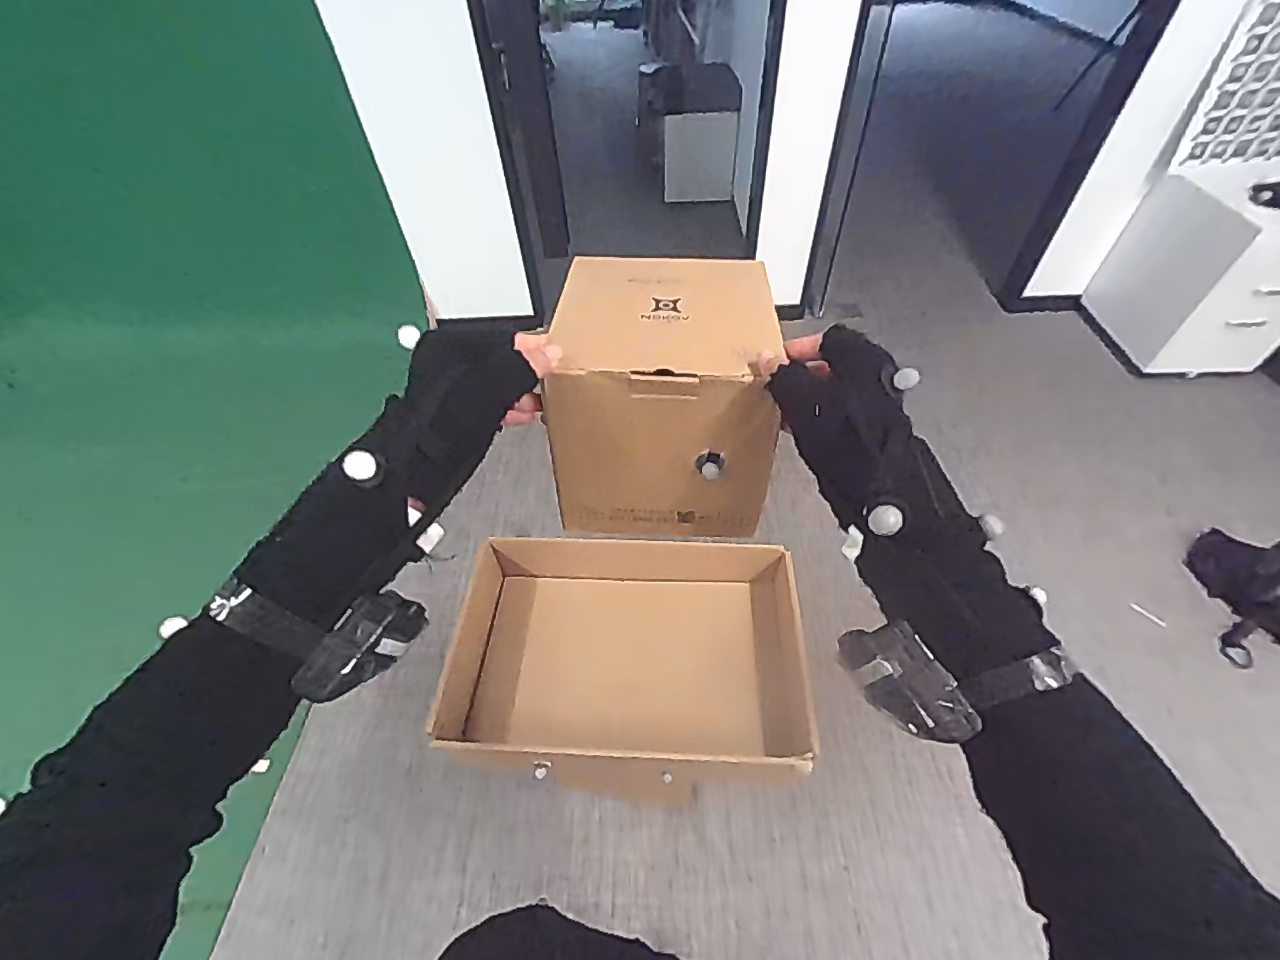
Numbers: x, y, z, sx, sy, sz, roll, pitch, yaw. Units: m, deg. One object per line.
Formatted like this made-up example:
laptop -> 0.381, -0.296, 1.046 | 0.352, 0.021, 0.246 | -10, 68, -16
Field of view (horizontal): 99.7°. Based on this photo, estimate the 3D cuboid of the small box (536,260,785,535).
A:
small box -> 0.017, -0.069, 0.462 | 0.168, 0.176, 0.179 | 2, 44, 1
